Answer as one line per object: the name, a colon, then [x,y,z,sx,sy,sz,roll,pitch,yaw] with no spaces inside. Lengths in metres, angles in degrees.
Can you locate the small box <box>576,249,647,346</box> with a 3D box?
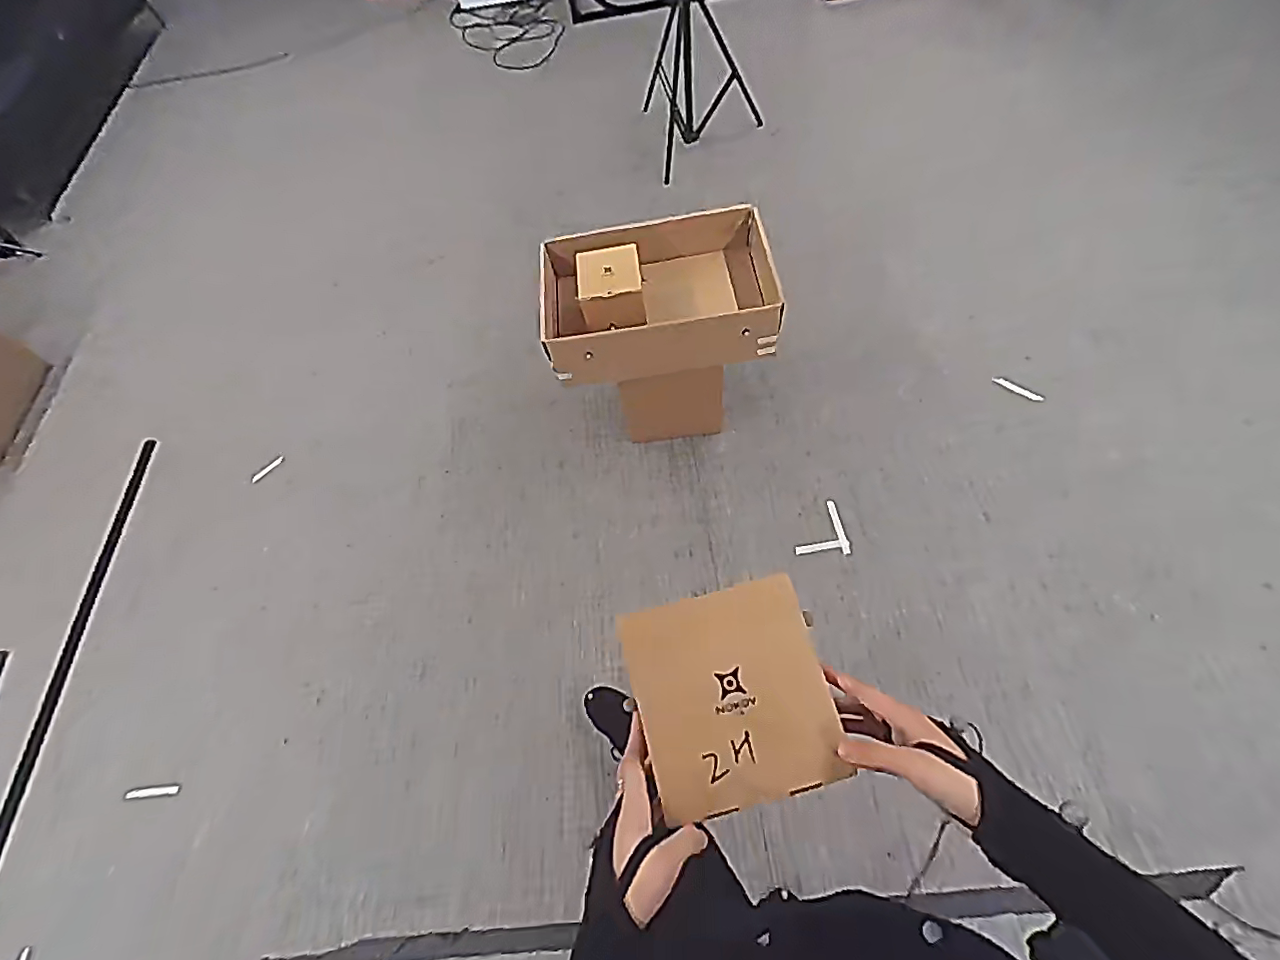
small box: [-0.077,-0.496,1.482,0.168,0.176,0.179,-9,62,3]

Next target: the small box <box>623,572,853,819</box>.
small box: [0.084,0.209,0.554,0.168,0.176,0.179,-15,73,-2]
